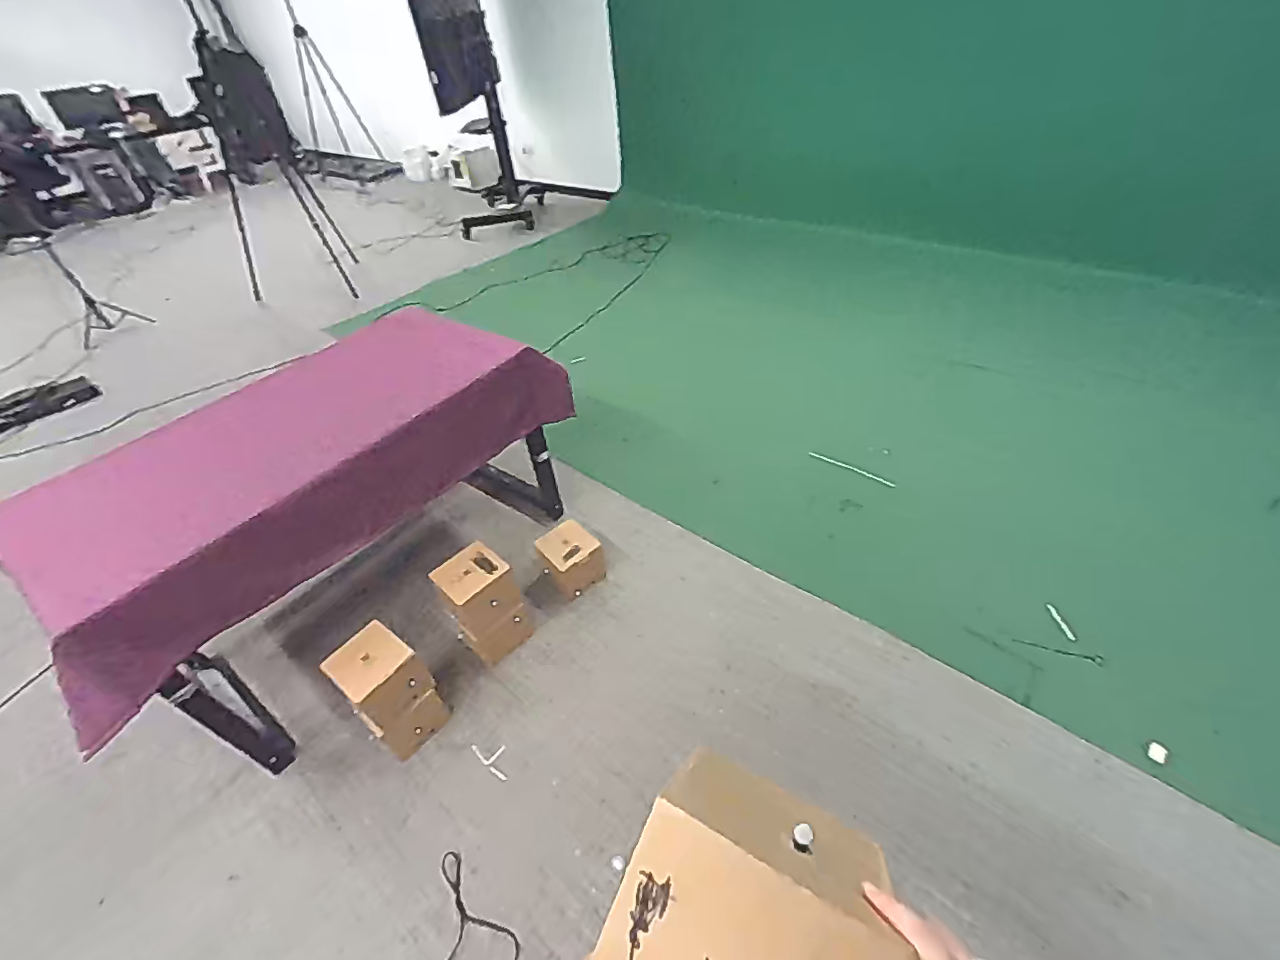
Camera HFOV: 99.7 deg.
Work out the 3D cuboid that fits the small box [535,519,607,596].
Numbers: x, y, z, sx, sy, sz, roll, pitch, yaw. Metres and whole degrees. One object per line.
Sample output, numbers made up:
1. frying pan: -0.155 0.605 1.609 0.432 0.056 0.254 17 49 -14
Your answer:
1. small box: -0.232 0.273 1.856 0.168 0.176 0.179 -33 48 -27
